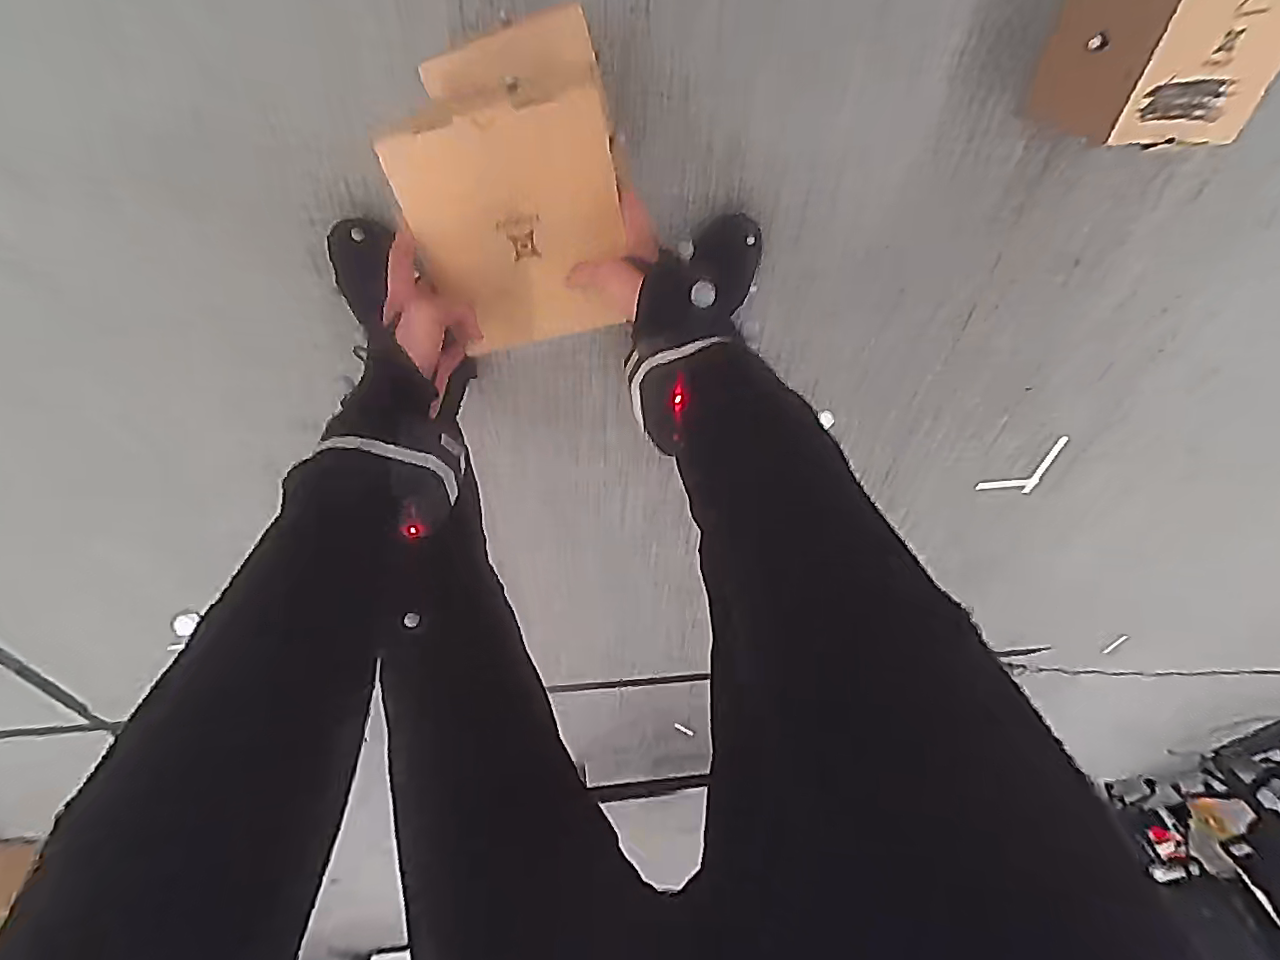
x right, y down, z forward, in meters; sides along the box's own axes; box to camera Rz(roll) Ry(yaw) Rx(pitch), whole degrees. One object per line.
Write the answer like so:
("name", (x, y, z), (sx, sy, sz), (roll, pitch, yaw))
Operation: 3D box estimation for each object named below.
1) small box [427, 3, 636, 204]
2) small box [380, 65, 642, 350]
("small box", (-0.113, -0.405, 0.614), (0.168, 0.176, 0.179), (-15, 134, 6))
("small box", (-0.097, -0.248, 0.491), (0.168, 0.176, 0.179), (-12, 131, 3))
